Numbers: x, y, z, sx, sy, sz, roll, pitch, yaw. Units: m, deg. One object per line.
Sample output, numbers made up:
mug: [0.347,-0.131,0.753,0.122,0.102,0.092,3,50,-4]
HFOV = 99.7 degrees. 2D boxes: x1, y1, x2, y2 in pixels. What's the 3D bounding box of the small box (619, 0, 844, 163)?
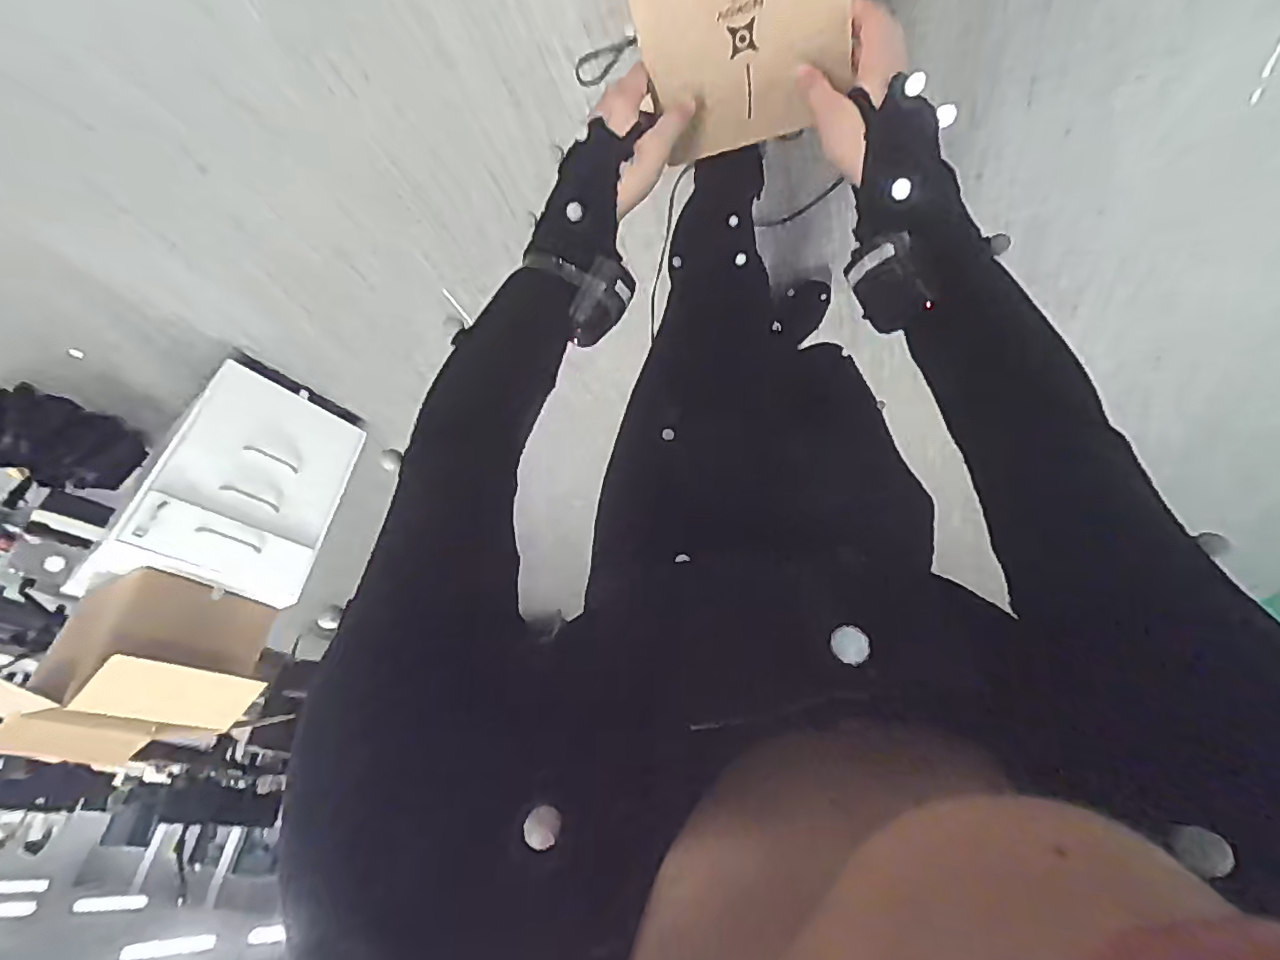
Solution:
small box: [0.073,-0.415,0.462,0.168,0.176,0.179,-8,142,14]
